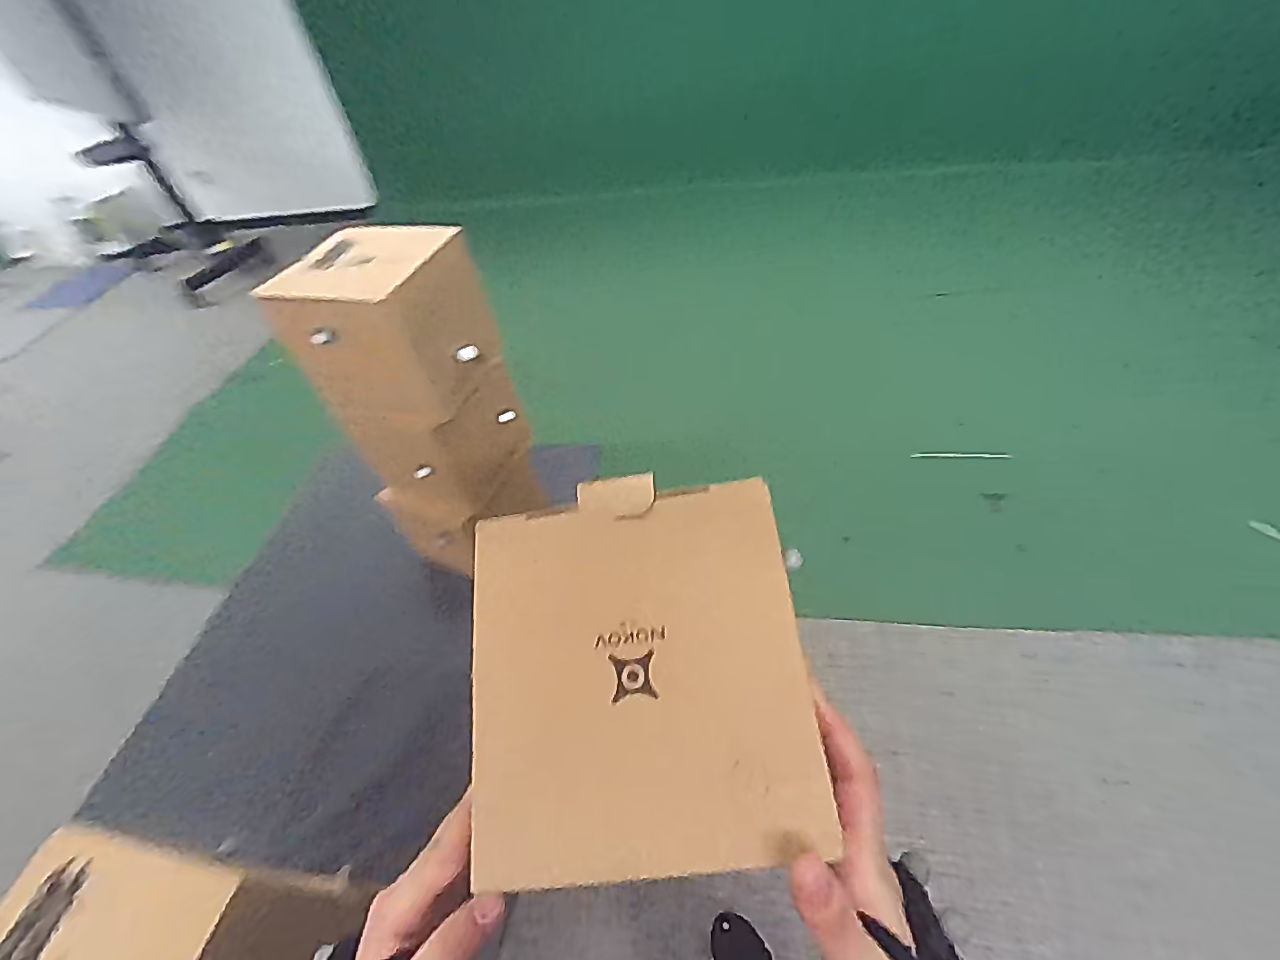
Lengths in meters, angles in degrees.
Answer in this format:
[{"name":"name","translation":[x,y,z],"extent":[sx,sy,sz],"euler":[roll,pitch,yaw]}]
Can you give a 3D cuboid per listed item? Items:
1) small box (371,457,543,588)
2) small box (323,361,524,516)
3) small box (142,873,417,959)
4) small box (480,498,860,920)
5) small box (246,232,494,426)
[{"name":"small box","translation":[-0.285,0.053,0.887],"extent":[0.179,0.176,0.168],"euler":[15,52,24]},{"name":"small box","translation":[-0.295,-0.069,0.778],"extent":[0.179,0.176,0.168],"euler":[11,50,21]},{"name":"small box","translation":[-0.351,0.493,0.512],"extent":[0.179,0.176,0.168],"euler":[-1,49,10]},{"name":"small box","translation":[0.016,0.129,0.331],"extent":[0.168,0.176,0.179],"euler":[-9,67,6]},{"name":"small box","translation":[-0.310,-0.183,0.661],"extent":[0.179,0.176,0.168],"euler":[7,50,16]}]
